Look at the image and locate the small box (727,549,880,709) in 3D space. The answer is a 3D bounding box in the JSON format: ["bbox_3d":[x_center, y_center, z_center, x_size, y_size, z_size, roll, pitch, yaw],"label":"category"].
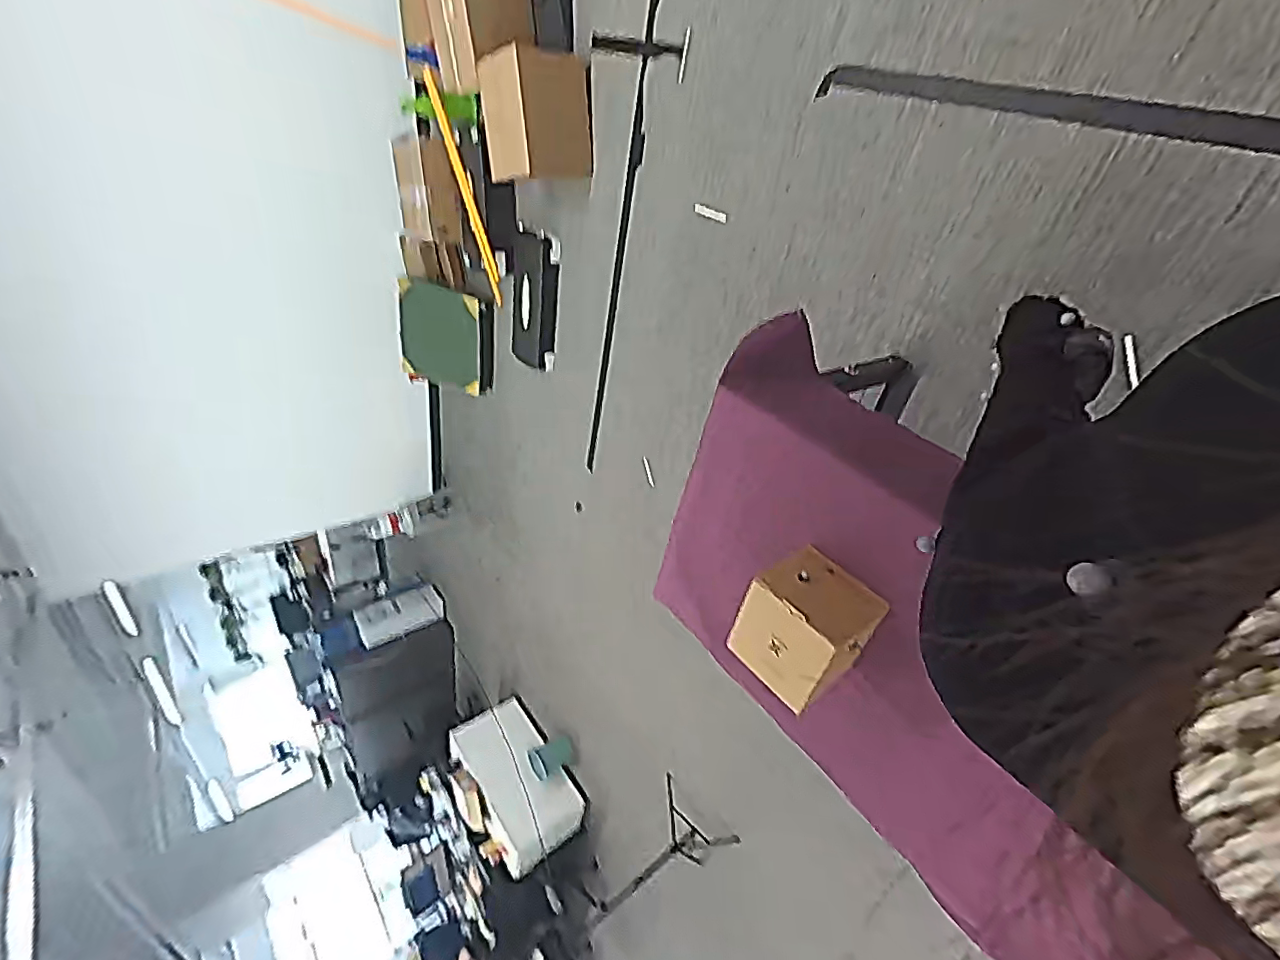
[{"bbox_3d":[0.284,0.247,0.935,0.168,0.176,0.179,41,134,35],"label":"small box"}]
